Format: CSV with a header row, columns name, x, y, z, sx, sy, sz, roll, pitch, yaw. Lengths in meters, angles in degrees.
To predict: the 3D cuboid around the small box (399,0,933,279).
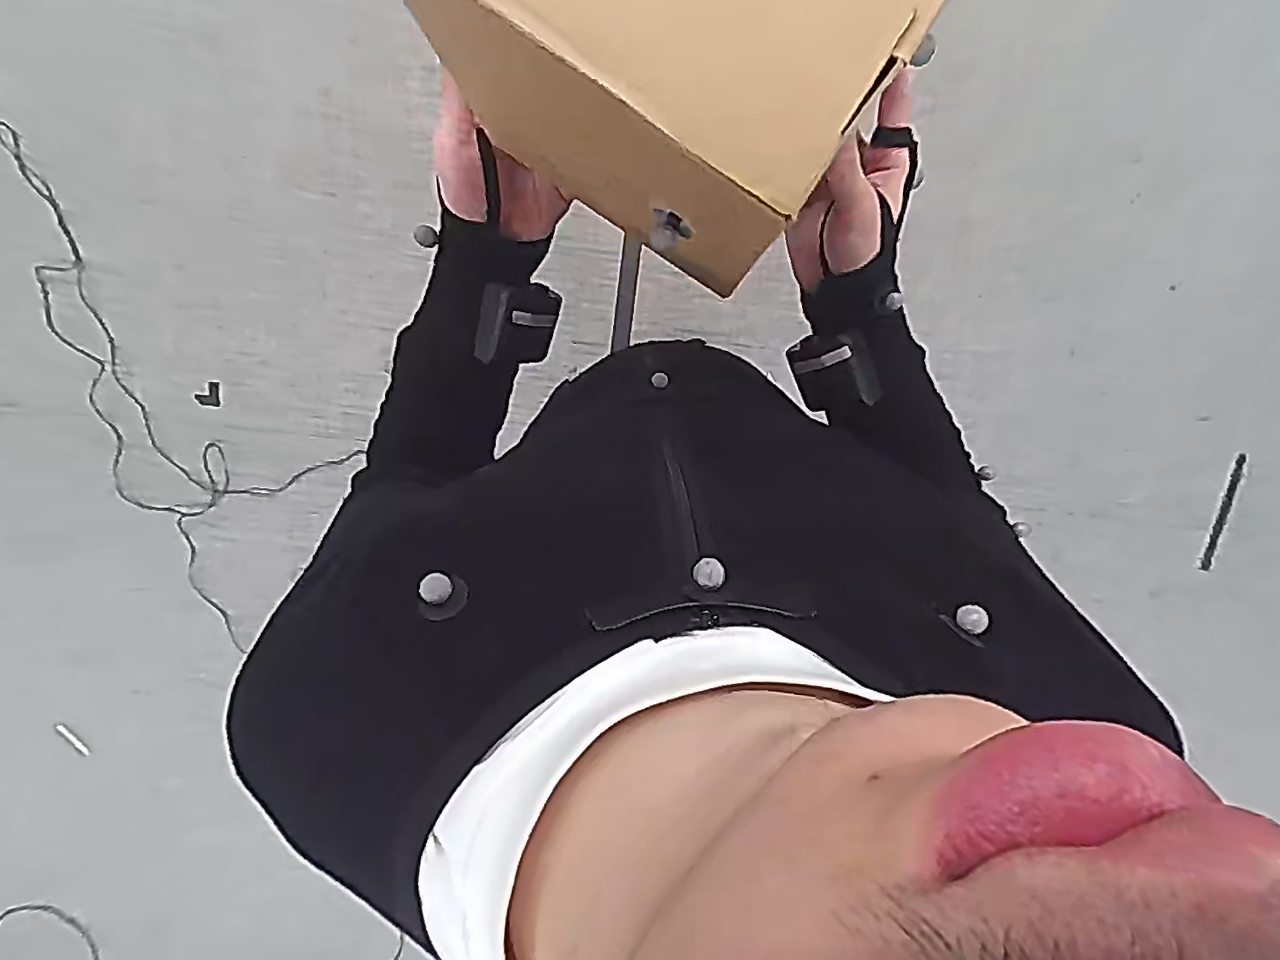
name,x,y,z,sx,sy,sz,roll,pitch,yaw
small box,0.025,-0.217,0.256,0.179,0.176,0.168,32,99,-3
